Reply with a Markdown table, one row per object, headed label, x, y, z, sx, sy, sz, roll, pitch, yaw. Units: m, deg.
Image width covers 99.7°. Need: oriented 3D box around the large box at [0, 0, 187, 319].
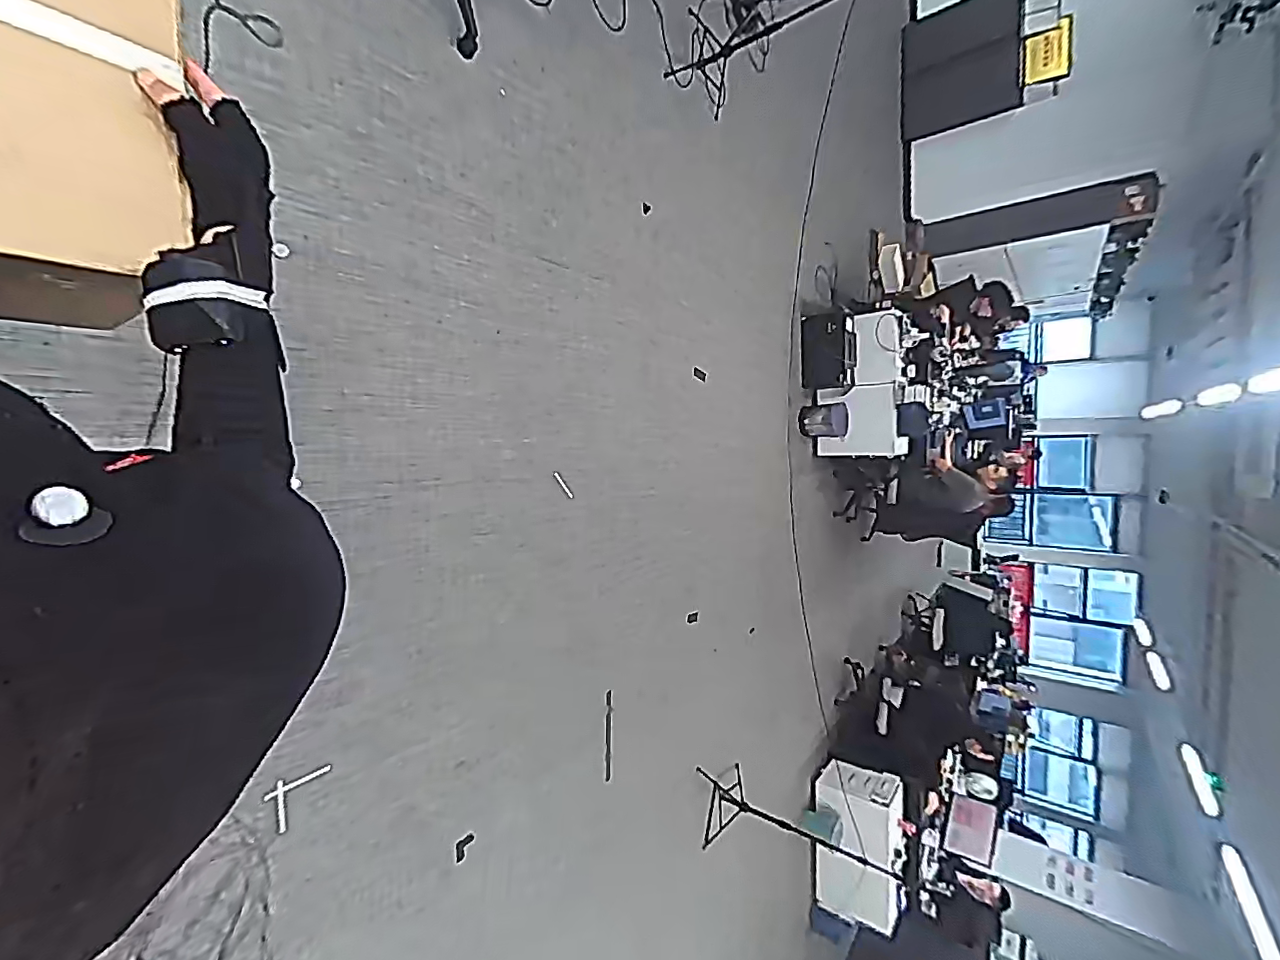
| label | x | y | z | sx | sy | sz | roll | pitch | yaw |
| --- | --- | --- | --- | --- | --- | --- | --- | --- | --- |
| large box | -0.611 | -0.310 | 0.359 | 0.408 | 0.320 | 0.320 | -6 | 99 | -54 |
